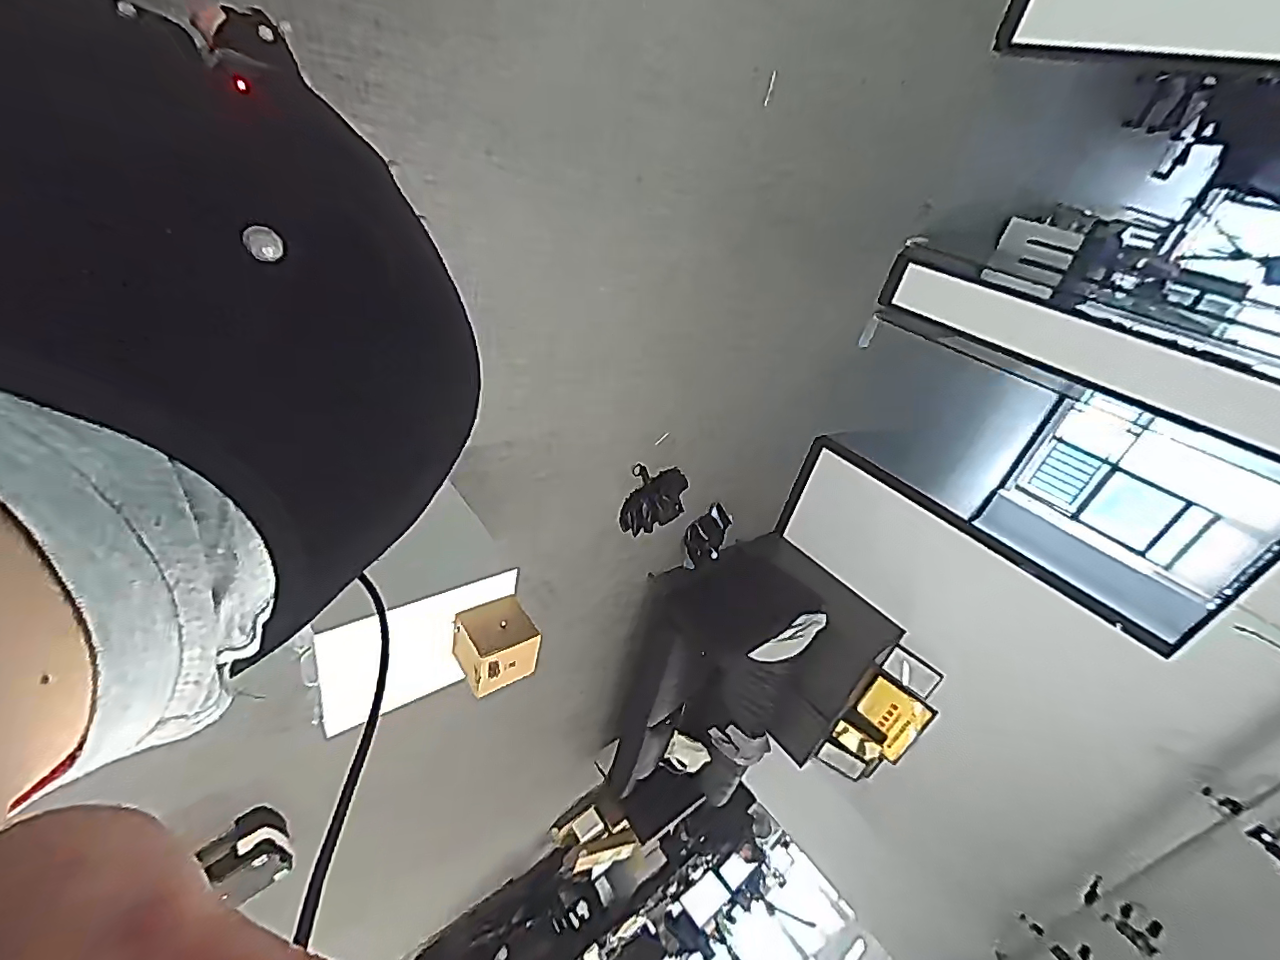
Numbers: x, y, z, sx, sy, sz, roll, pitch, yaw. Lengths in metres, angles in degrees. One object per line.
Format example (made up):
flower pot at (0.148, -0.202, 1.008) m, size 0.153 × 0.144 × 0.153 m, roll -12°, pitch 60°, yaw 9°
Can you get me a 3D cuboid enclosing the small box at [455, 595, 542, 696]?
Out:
small box at (-0.399, 0.453, 1.503) m, size 0.179 × 0.176 × 0.168 m, roll -15°, pitch 133°, yaw -39°
